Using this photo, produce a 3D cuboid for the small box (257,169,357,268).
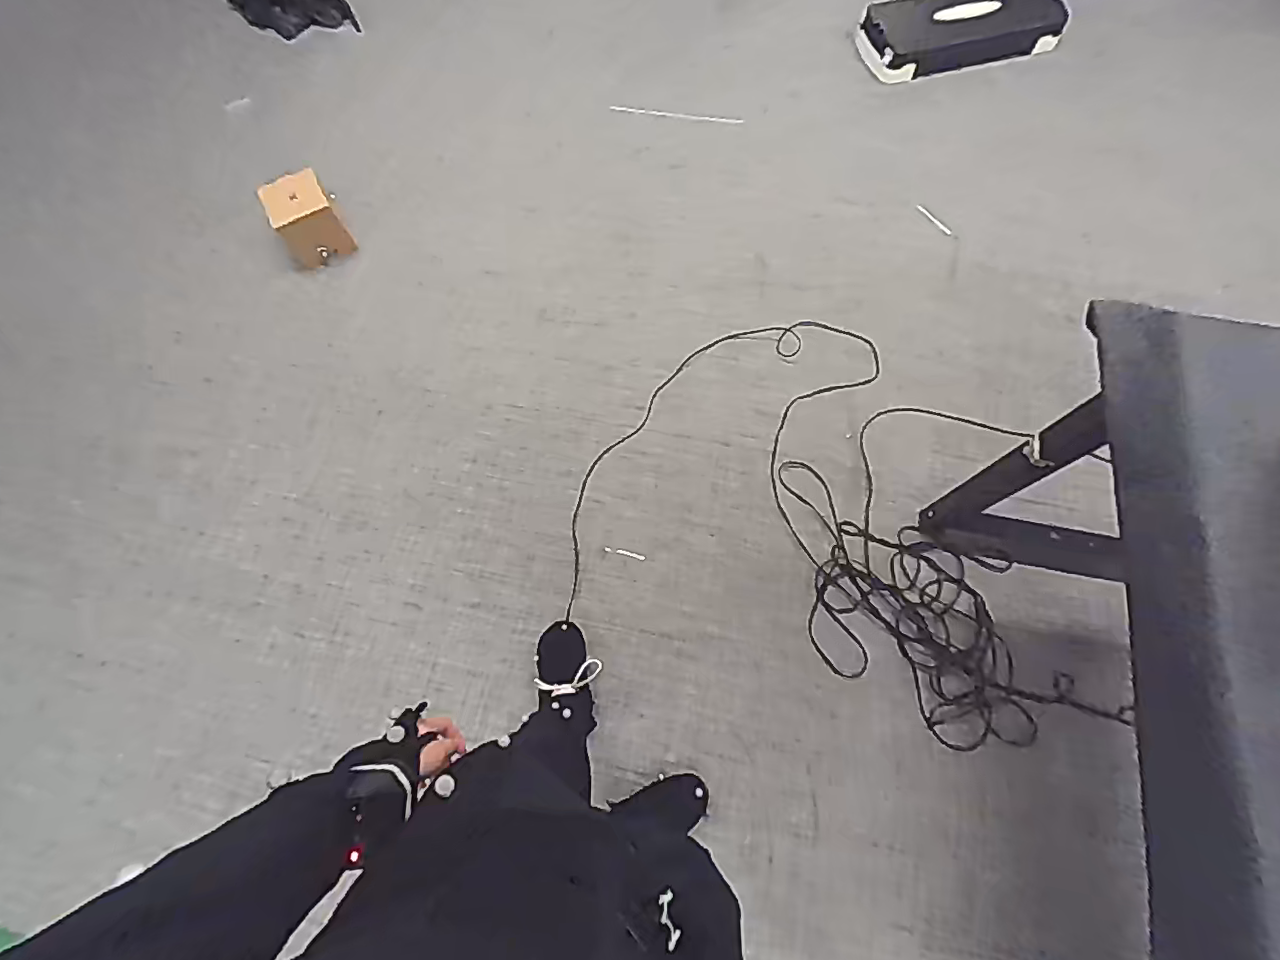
[{"bbox_3d":[-0.983,-0.772,1.607,0.168,0.176,0.179,-30,72,-8],"label":"small box"}]
